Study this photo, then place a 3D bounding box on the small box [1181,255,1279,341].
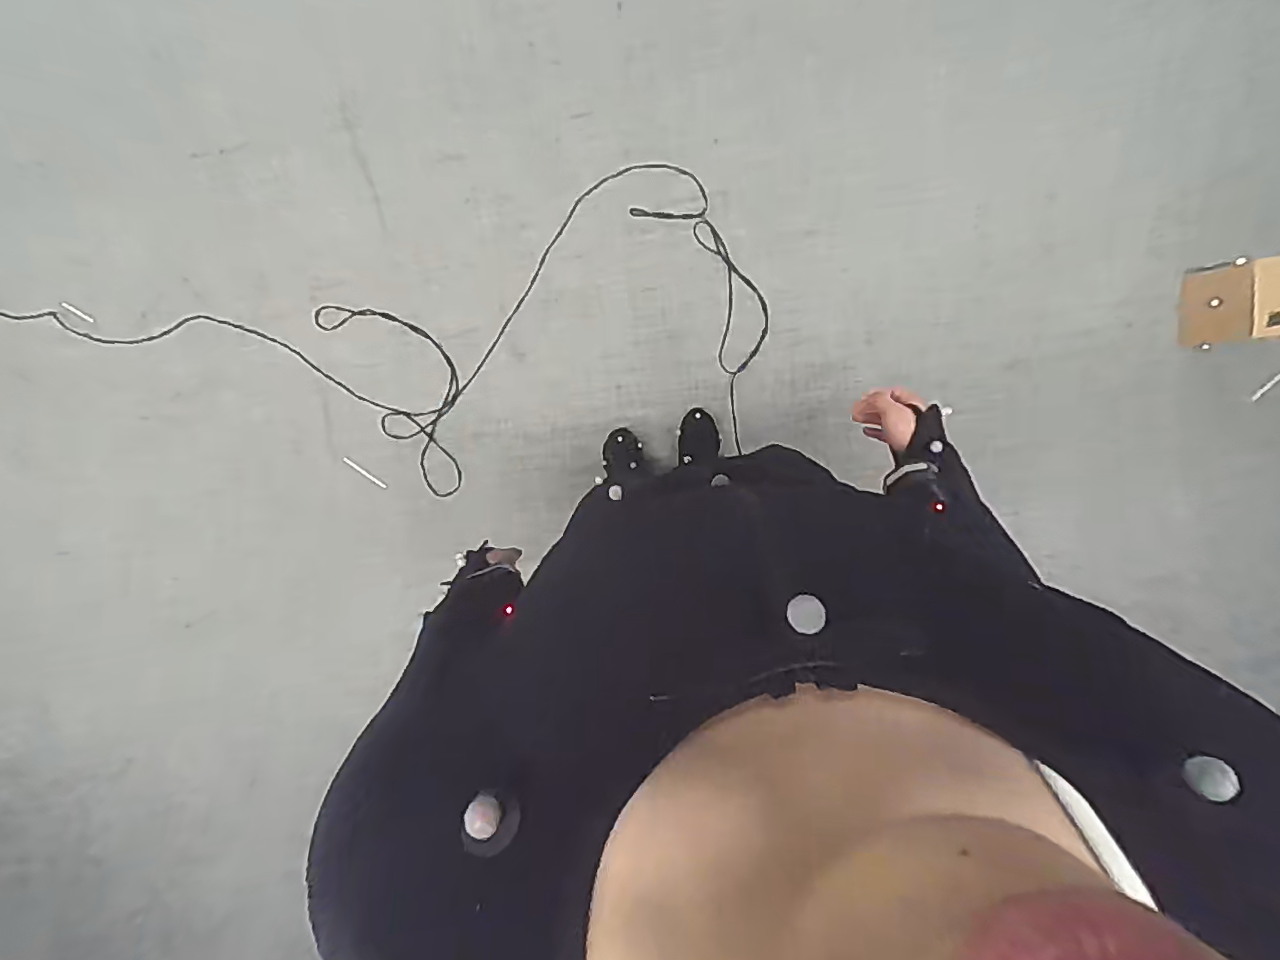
[{"bbox_3d":[1.454,-0.432,1.293,0.168,0.176,0.179,-6,99,3],"label":"small box"}]
